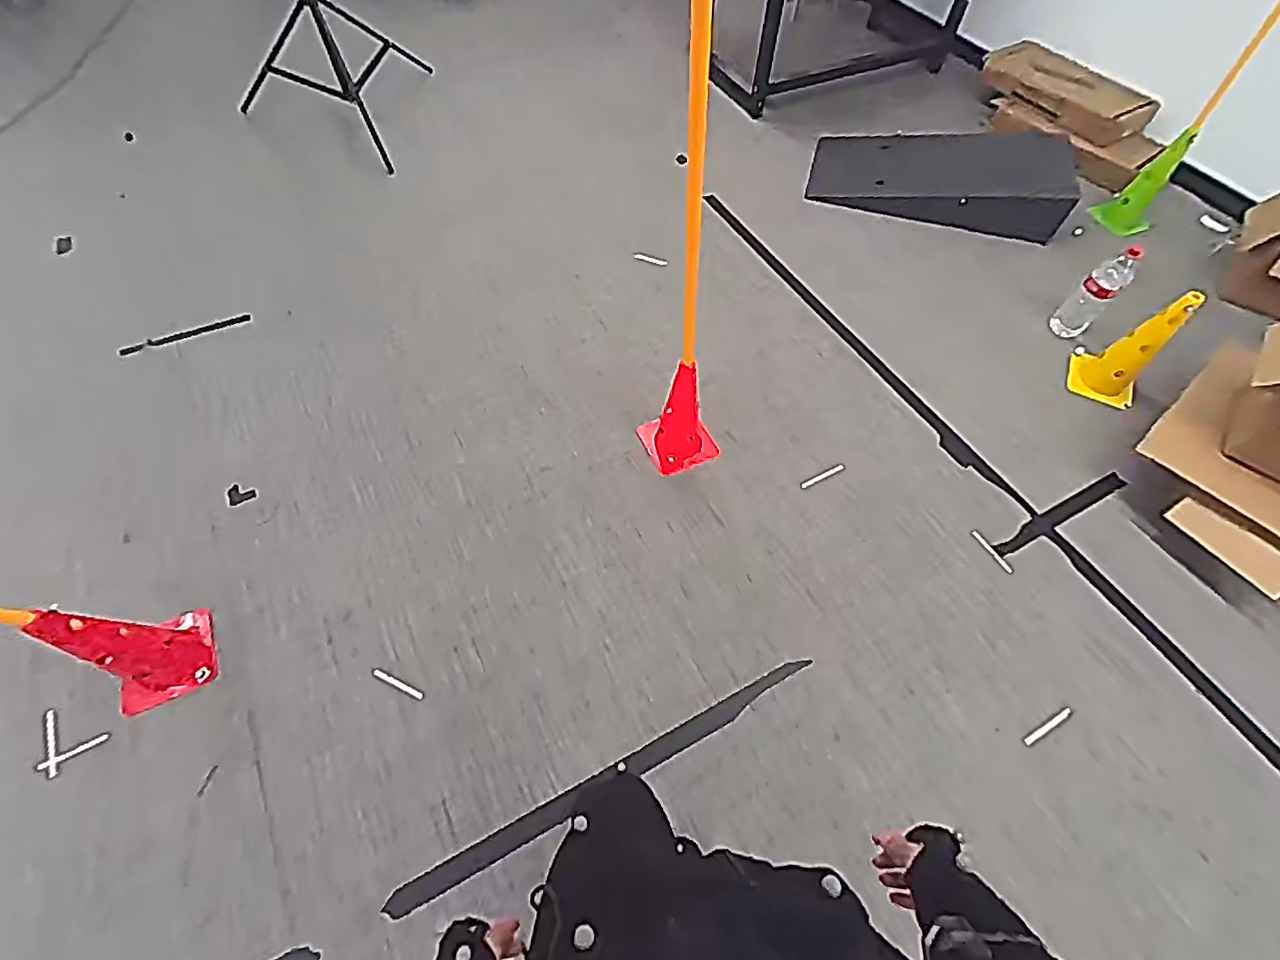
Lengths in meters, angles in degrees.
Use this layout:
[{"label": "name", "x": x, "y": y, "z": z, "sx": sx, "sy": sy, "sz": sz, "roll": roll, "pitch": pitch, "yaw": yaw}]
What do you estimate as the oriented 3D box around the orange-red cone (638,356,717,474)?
[{"label": "orange-red cone", "x": 0.117, "y": -0.206, "z": 1.492, "sx": 0.199, "sy": 0.360, "sz": 0.198, "roll": -21, "pitch": 63, "yaw": -14}]
